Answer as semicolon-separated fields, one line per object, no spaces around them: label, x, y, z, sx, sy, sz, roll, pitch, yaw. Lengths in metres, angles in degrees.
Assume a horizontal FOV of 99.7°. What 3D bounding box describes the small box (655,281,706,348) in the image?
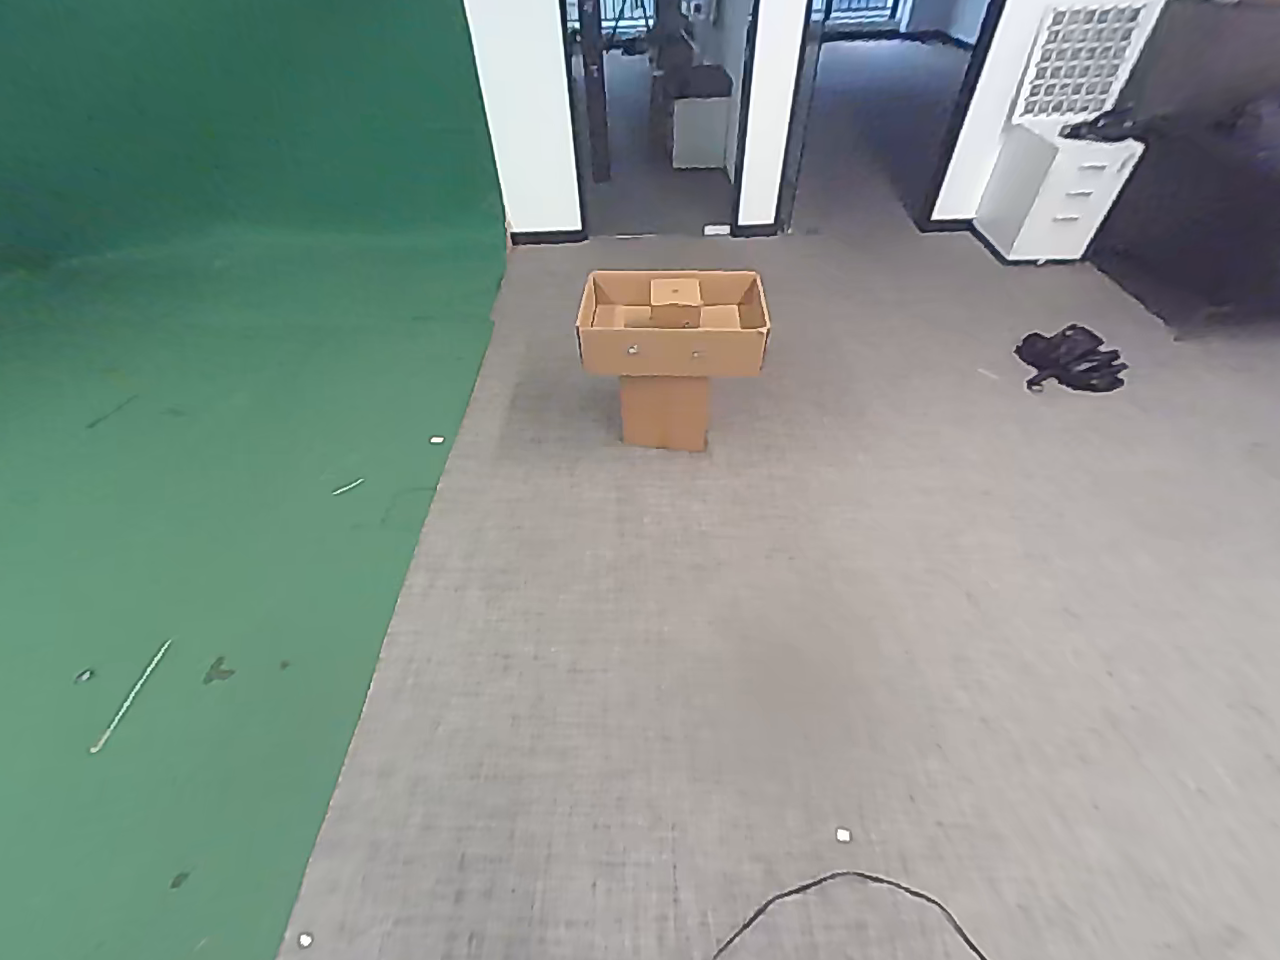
small box;0.137;-0.571;1.872;0.168;0.176;0.179;0;45;1
